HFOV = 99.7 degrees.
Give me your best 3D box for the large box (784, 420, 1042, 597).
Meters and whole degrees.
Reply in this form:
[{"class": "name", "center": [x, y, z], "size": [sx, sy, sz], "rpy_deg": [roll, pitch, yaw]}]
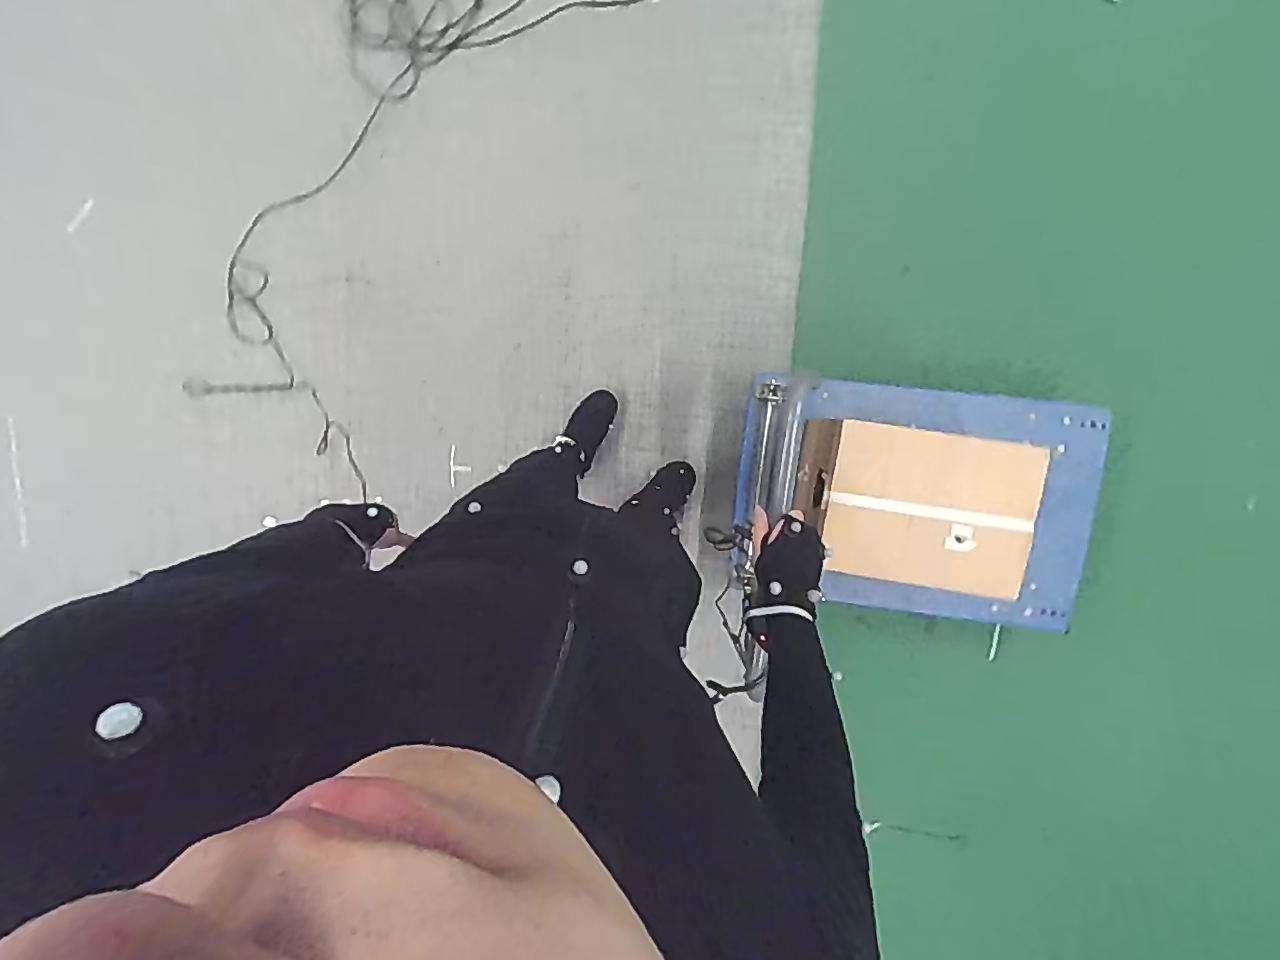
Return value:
[{"class": "large box", "center": [0.577, 0.043, 1.229], "size": [0.408, 0.320, 0.320], "rpy_deg": [10, 98, 2]}]
